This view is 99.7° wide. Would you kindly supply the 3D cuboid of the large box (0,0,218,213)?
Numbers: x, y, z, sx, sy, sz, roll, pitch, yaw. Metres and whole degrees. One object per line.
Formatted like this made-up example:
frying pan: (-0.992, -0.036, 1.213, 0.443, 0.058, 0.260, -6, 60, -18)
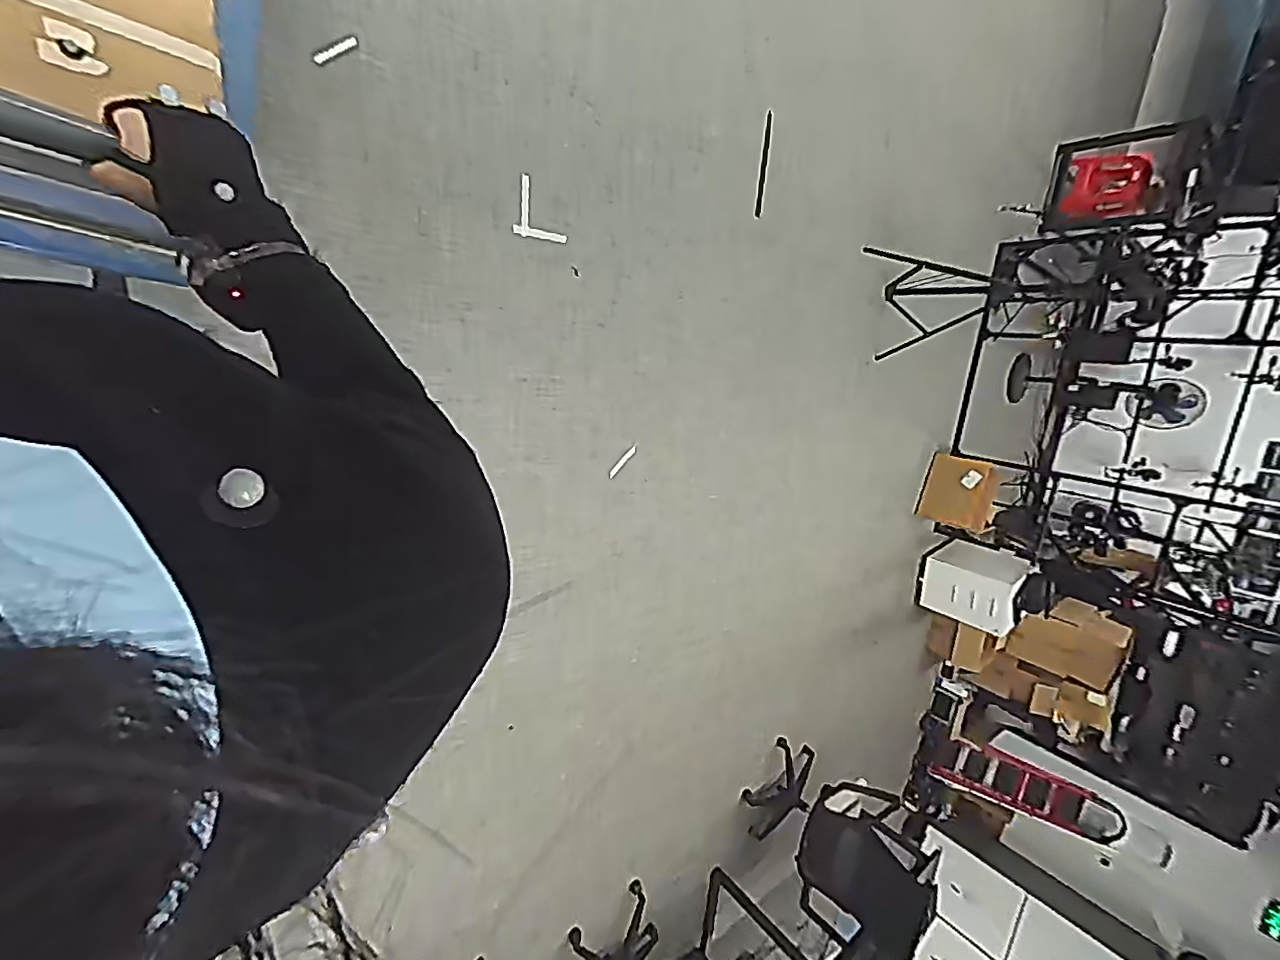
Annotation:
large box: (-0.825, -0.587, 0.708, 0.408, 0.320, 0.320, -2, 104, -43)
